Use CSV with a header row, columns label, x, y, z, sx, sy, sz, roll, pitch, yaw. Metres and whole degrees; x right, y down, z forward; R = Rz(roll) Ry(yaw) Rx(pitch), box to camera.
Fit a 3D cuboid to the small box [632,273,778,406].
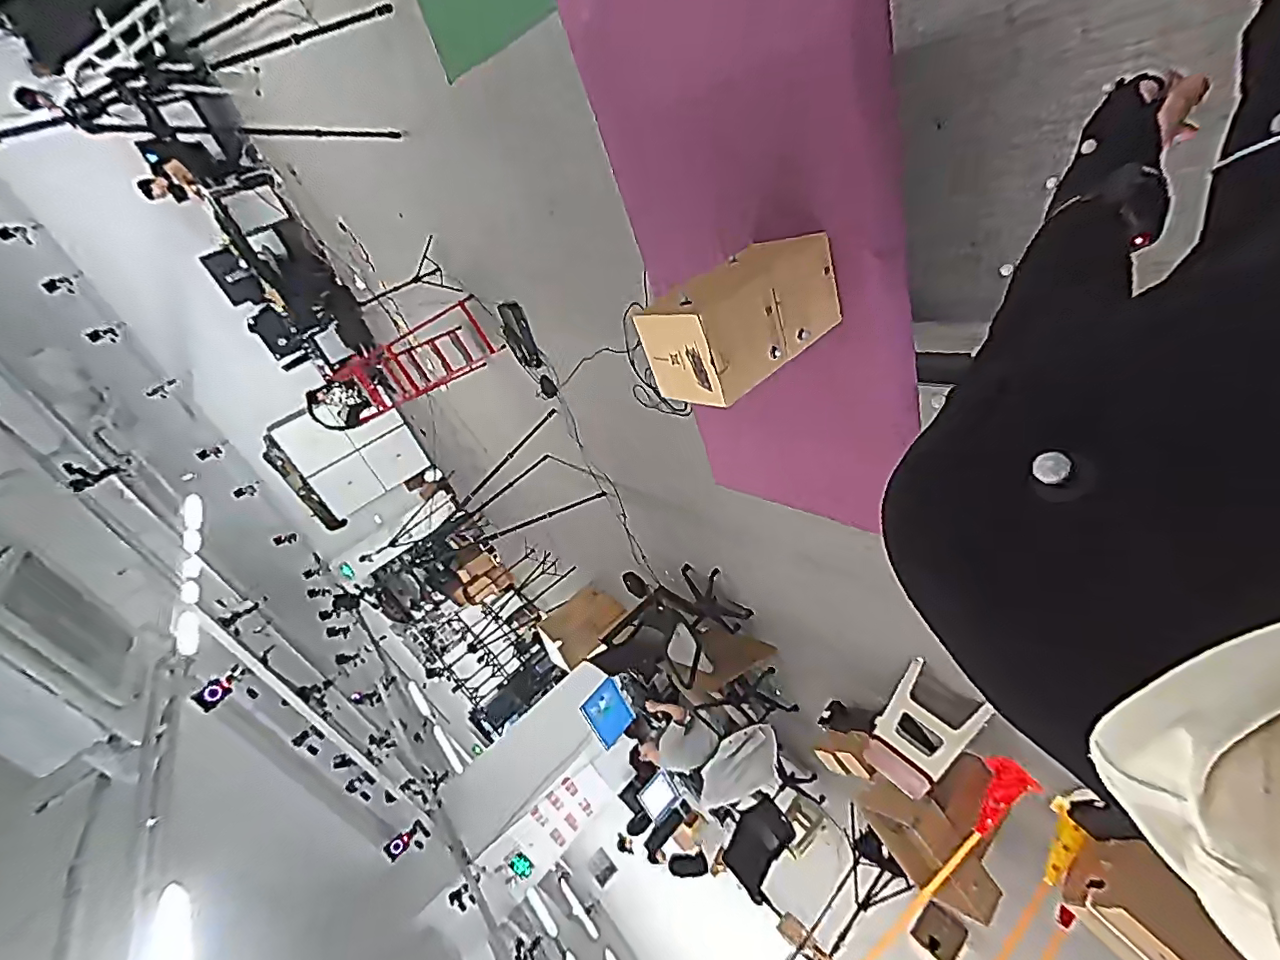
label,x,y,z,sx,sy,sz,roll,pitch,yaw
small box,0.123,-0.250,0.949,0.179,0.176,0.168,21,141,50
